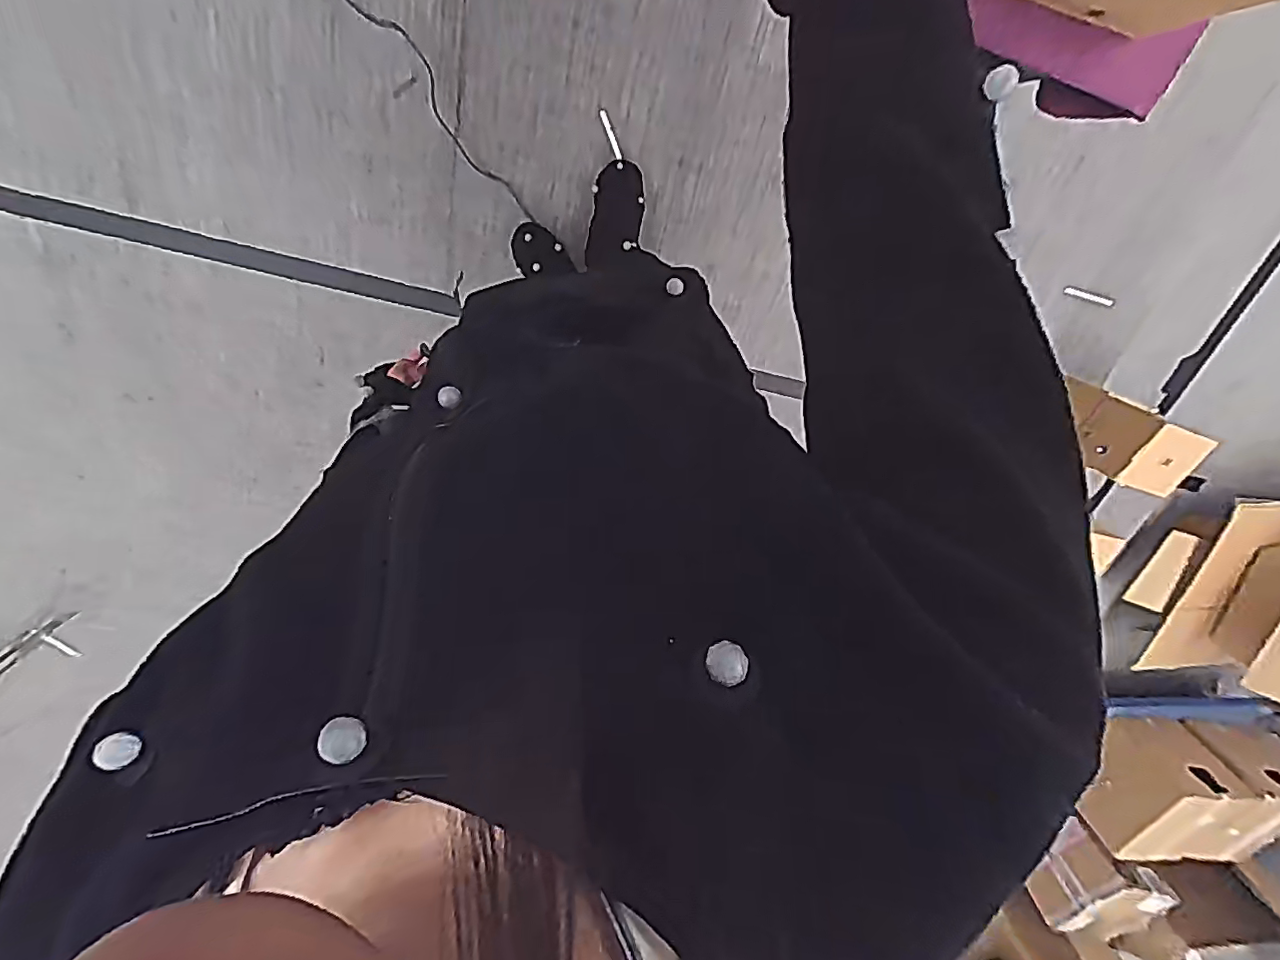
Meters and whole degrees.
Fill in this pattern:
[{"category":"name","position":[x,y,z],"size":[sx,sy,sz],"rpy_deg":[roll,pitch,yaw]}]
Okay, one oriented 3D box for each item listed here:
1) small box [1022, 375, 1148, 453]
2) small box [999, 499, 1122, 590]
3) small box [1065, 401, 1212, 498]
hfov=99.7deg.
[{"category":"small box","position":[1.220,-0.170,1.499],"size":[0.168,0.176,0.179],"rpy_deg":[15,118,-15]},{"category":"small box","position":[1.152,0.174,1.502],"size":[0.168,0.176,0.179],"rpy_deg":[12,119,-12]},{"category":"small box","position":[1.241,-0.083,1.364],"size":[0.179,0.176,0.168],"rpy_deg":[13,120,-15]}]
